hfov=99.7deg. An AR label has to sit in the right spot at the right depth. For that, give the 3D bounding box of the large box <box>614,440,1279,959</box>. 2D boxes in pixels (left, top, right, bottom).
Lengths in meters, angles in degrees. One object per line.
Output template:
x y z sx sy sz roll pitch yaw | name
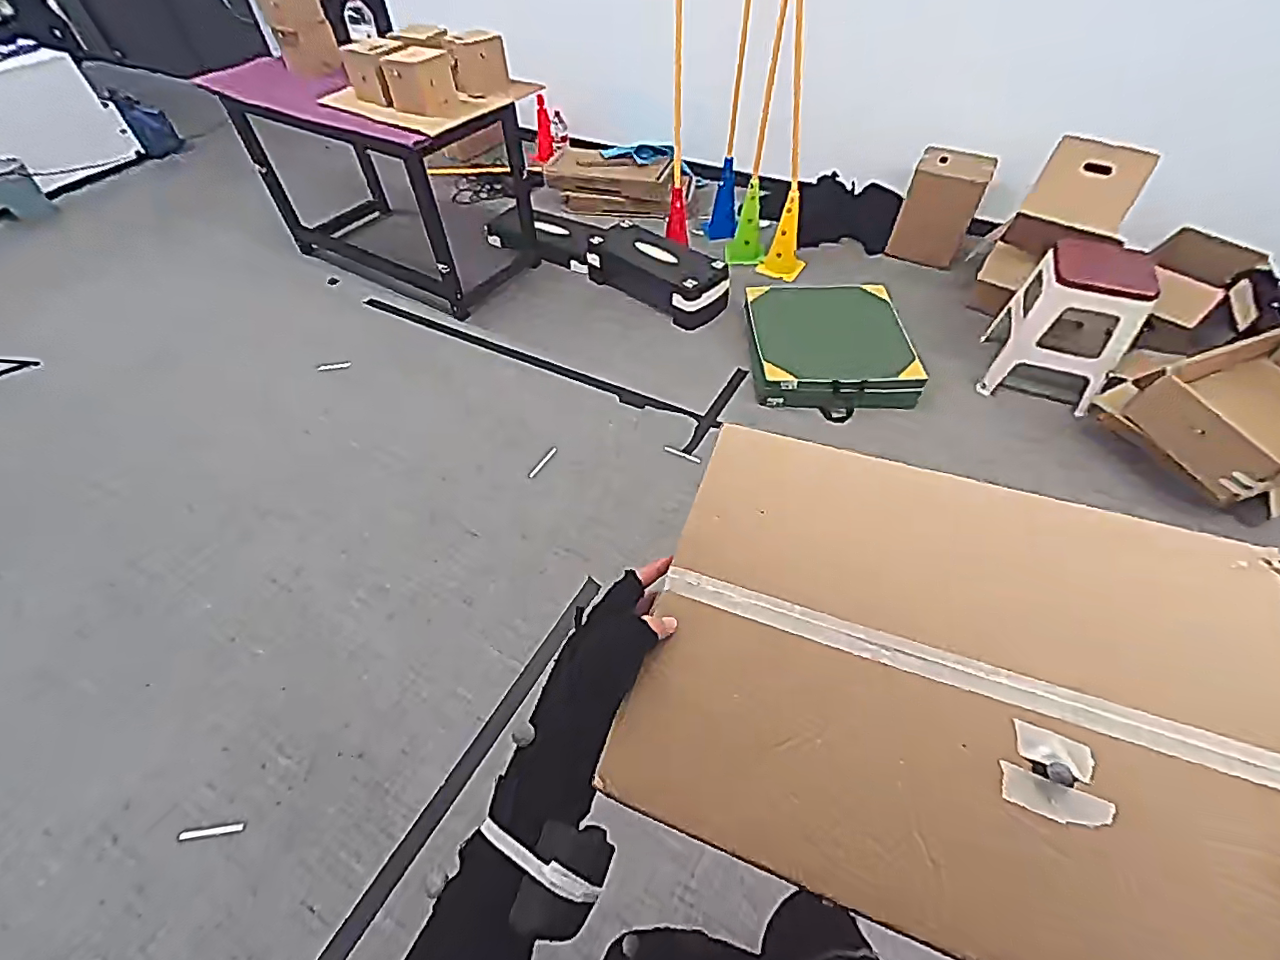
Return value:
0.232 0.208 0.517 0.408 0.320 0.320 16 65 17 | large box
